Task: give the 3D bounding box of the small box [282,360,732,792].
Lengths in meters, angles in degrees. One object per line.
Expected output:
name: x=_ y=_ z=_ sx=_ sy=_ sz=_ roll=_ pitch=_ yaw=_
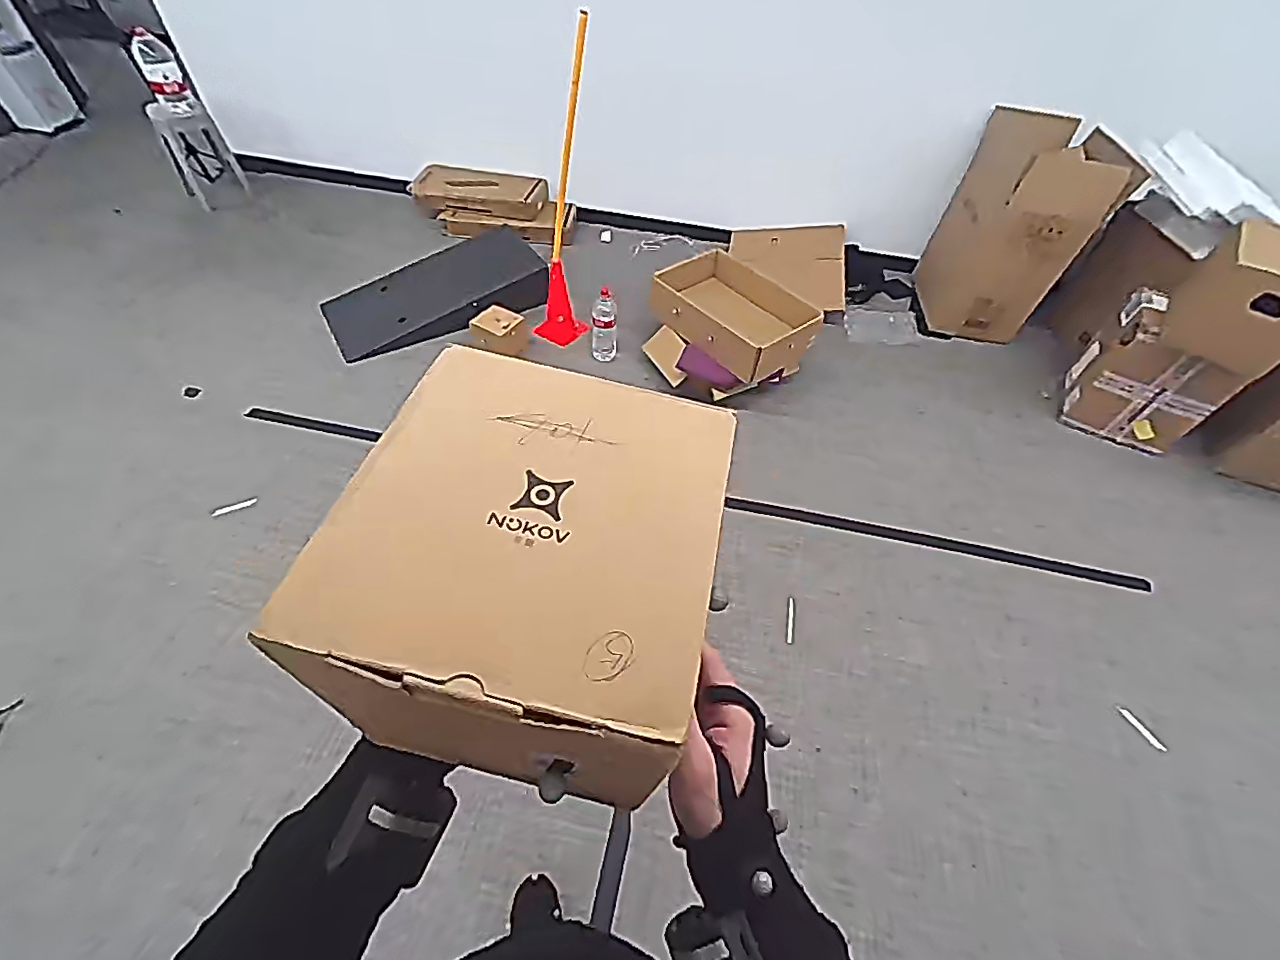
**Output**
small box: x=-0.054 y=0.064 z=0.320 sx=0.168 sy=0.176 sz=0.179 roll=14 pitch=52 yaw=1
